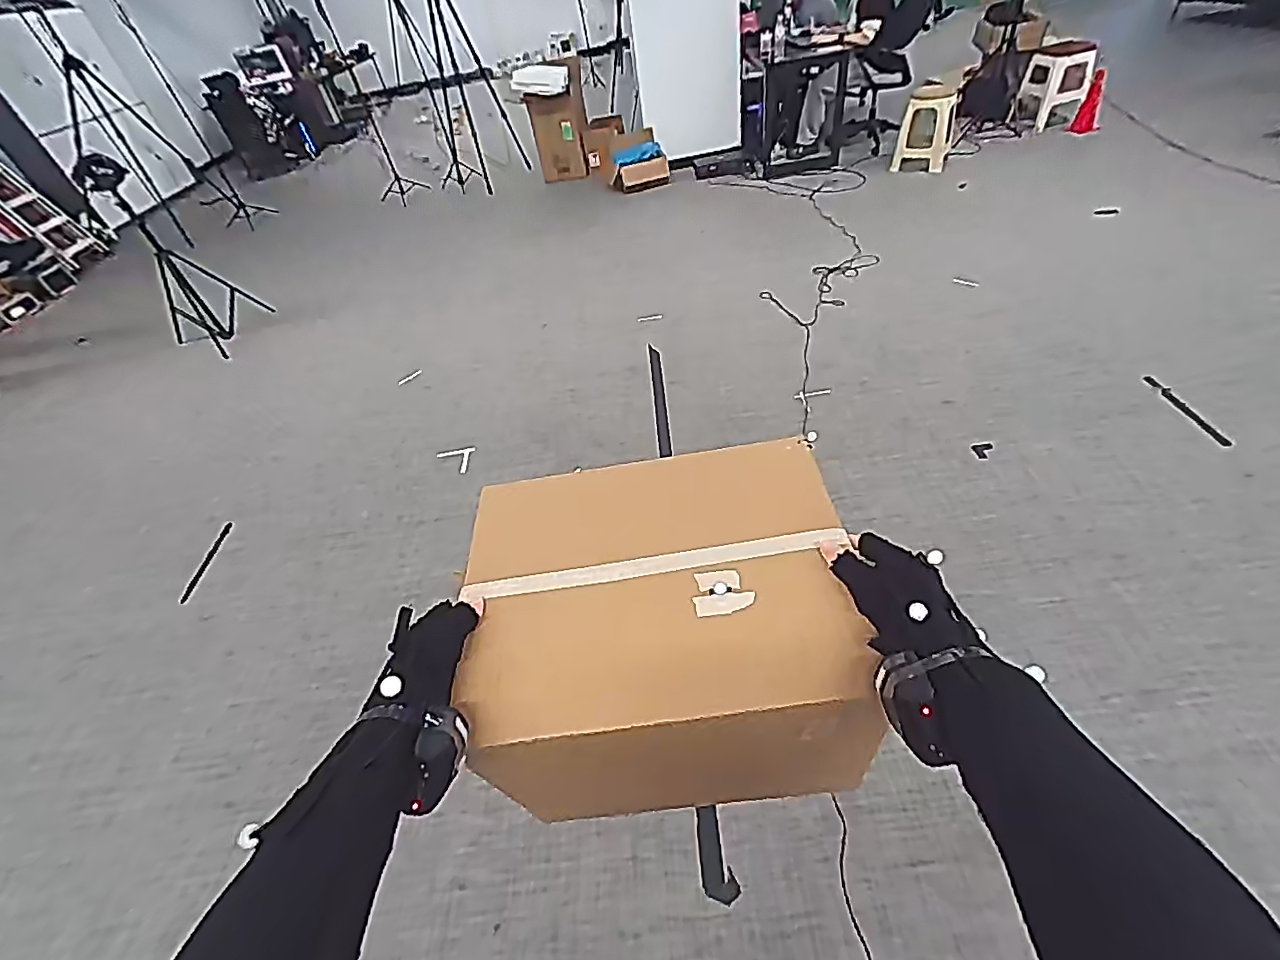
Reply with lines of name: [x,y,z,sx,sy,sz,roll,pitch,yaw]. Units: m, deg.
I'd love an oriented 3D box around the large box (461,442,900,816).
large box: [0.040,0.194,0.684,0.408,0.320,0.320,-9,47,3]
